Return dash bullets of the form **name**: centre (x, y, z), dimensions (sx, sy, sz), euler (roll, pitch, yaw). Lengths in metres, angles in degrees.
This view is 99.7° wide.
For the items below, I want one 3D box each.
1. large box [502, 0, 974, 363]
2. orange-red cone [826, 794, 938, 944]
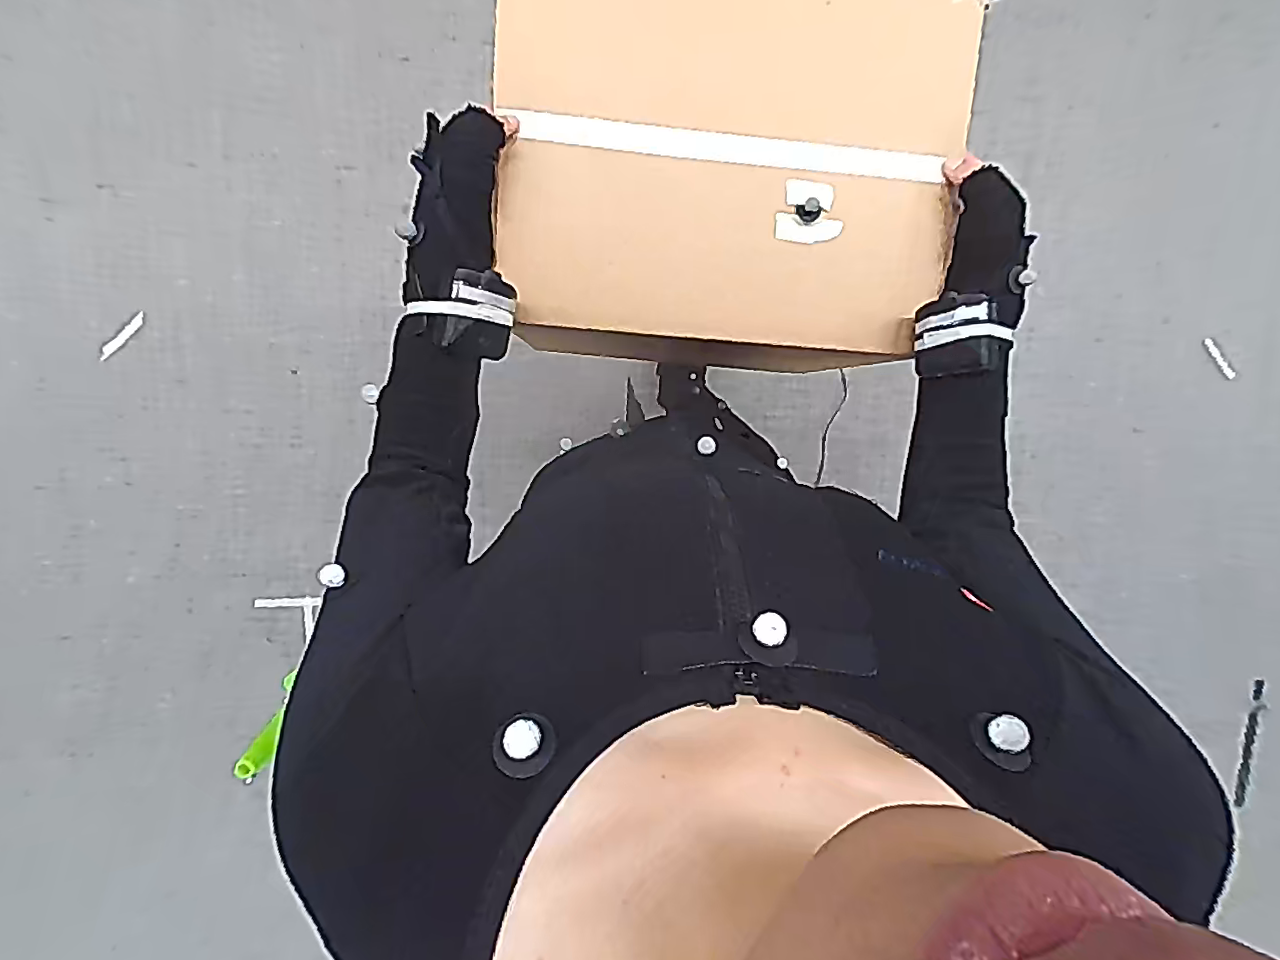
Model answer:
- **large box**: centre (0.070, -0.310, 0.612), dimensions (0.408, 0.320, 0.320), euler (3, 99, -6)
- **orange-red cone**: centre (0.645, 1.017, 1.394), dimensions (0.198, 0.360, 0.199), euler (-1, 94, -3)
